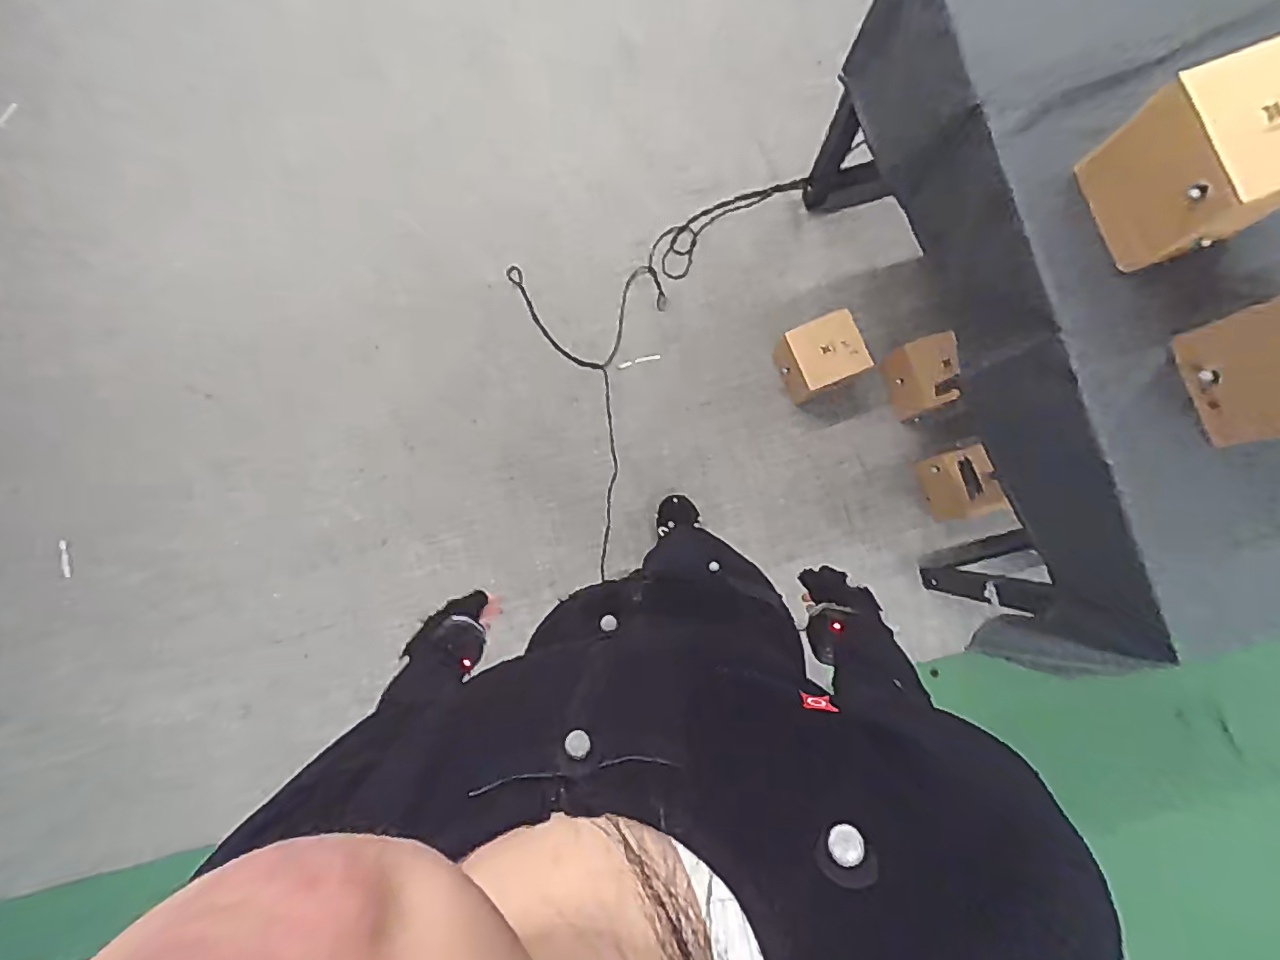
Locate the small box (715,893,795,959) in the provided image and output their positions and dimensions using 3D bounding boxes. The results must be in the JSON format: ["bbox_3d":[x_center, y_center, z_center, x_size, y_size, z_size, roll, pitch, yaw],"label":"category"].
[{"bbox_3d":[0.291,1.167,1.335,0.168,0.176,0.179,-16,84,1],"label":"small box"}]

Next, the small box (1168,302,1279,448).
[{"bbox_3d":[0.846,-0.149,0.679,0.179,0.176,0.168,-18,84,1],"label":"small box"}]

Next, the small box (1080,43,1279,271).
[{"bbox_3d":[0.734,-0.408,0.703,0.168,0.176,0.179,-20,86,0],"label":"small box"}]

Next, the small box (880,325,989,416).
[{"bbox_3d":[0.763,-0.277,1.419,0.168,0.176,0.179,-17,84,1],"label":"small box"}]
